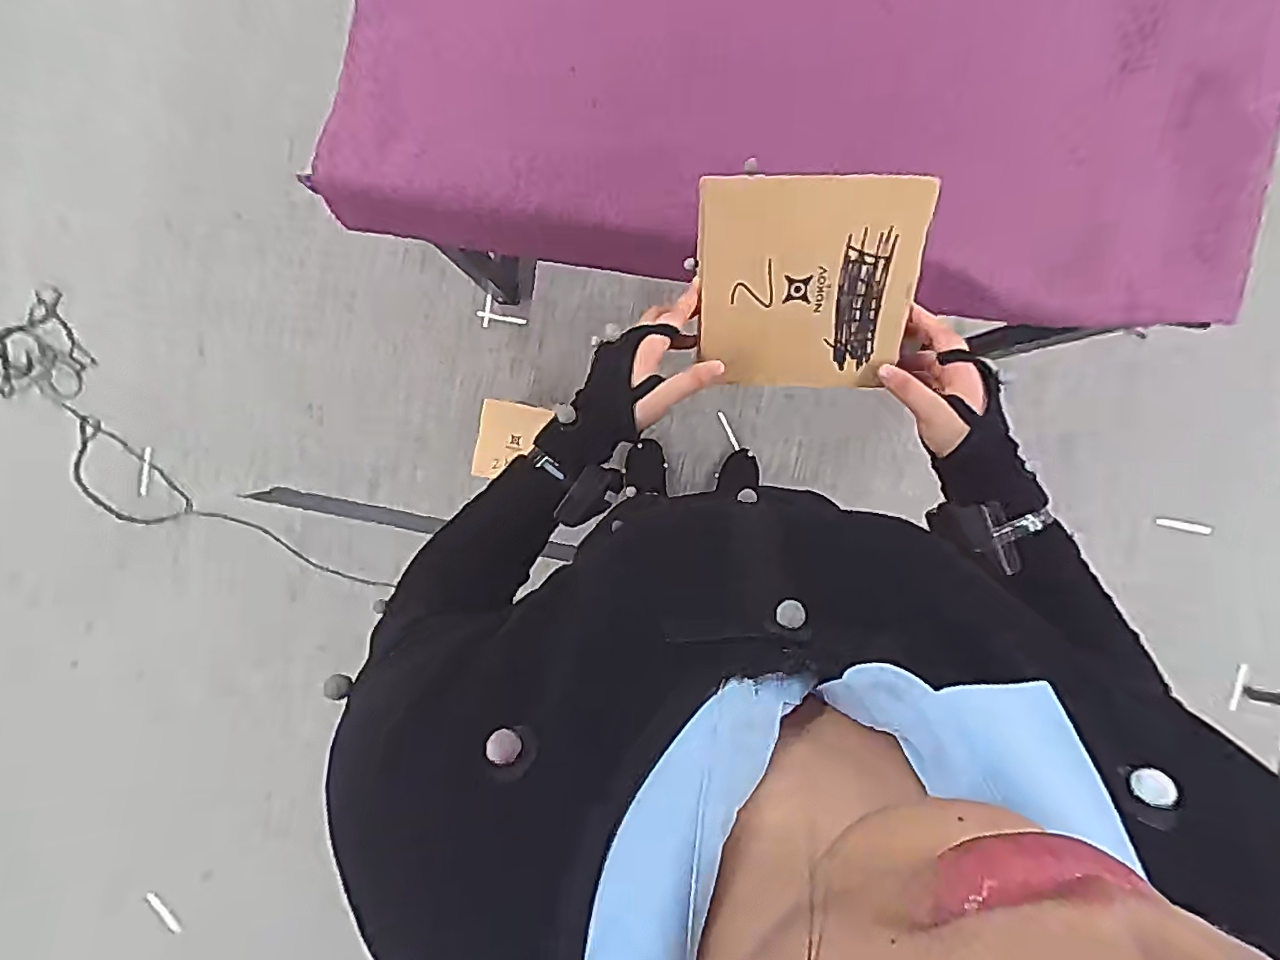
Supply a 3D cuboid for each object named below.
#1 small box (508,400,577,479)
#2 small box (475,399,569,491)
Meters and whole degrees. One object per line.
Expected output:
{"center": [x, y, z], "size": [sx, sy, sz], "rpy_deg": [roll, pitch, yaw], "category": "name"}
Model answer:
{"center": [-0.269, -0.098, 1.413], "size": [0.168, 0.176, 0.179], "rpy_deg": [16, 94, -1], "category": "small box"}
{"center": [-0.264, -0.080, 1.249], "size": [0.168, 0.176, 0.179], "rpy_deg": [11, 95, 0], "category": "small box"}
